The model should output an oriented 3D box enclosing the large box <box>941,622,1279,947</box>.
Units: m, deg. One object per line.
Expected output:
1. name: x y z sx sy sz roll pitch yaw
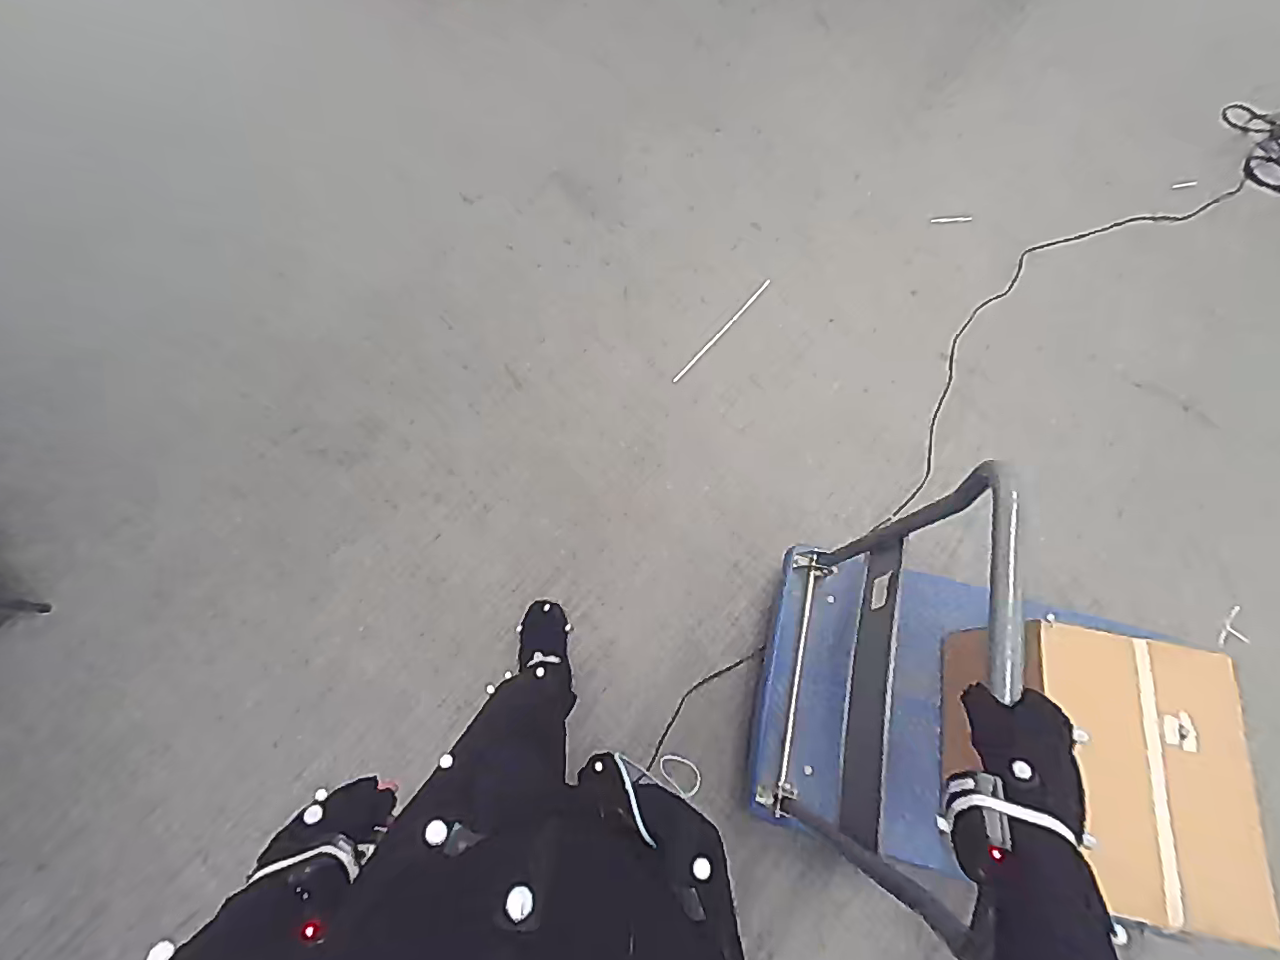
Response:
1. large box: 0.772 0.500 0.966 0.320 0.320 0.408 11 69 2
